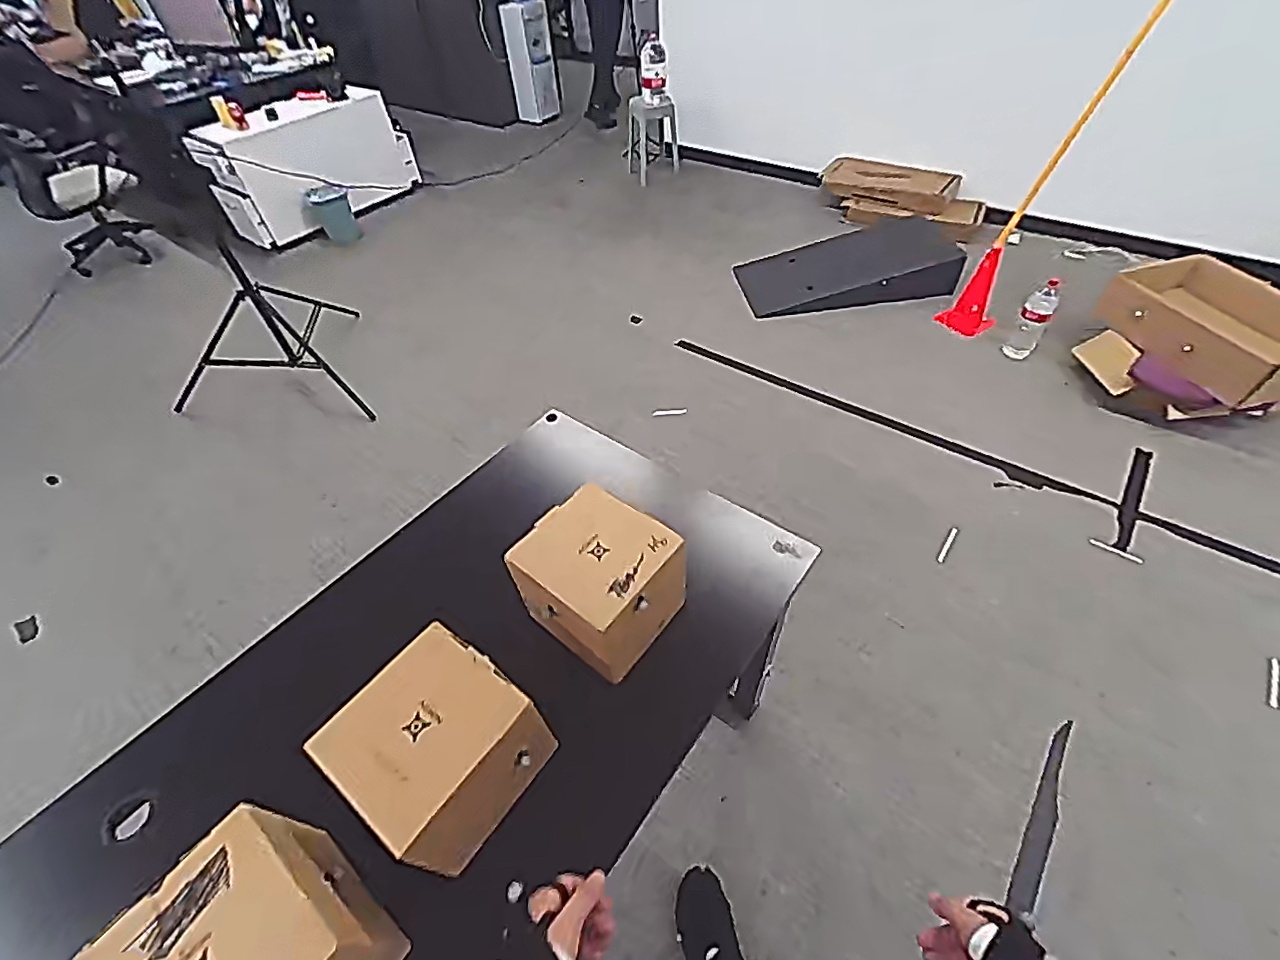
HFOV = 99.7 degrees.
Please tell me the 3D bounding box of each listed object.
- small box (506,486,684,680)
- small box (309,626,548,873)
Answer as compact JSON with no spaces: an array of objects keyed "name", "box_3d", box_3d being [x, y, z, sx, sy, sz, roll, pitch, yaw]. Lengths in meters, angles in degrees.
[{"name":"small box","box_3d":[-0.054,0.146,0.758,0.179,0.176,0.168,29,57,27]},{"name":"small box","box_3d":[-0.225,0.312,0.628,0.168,0.176,0.179,28,58,26]}]
